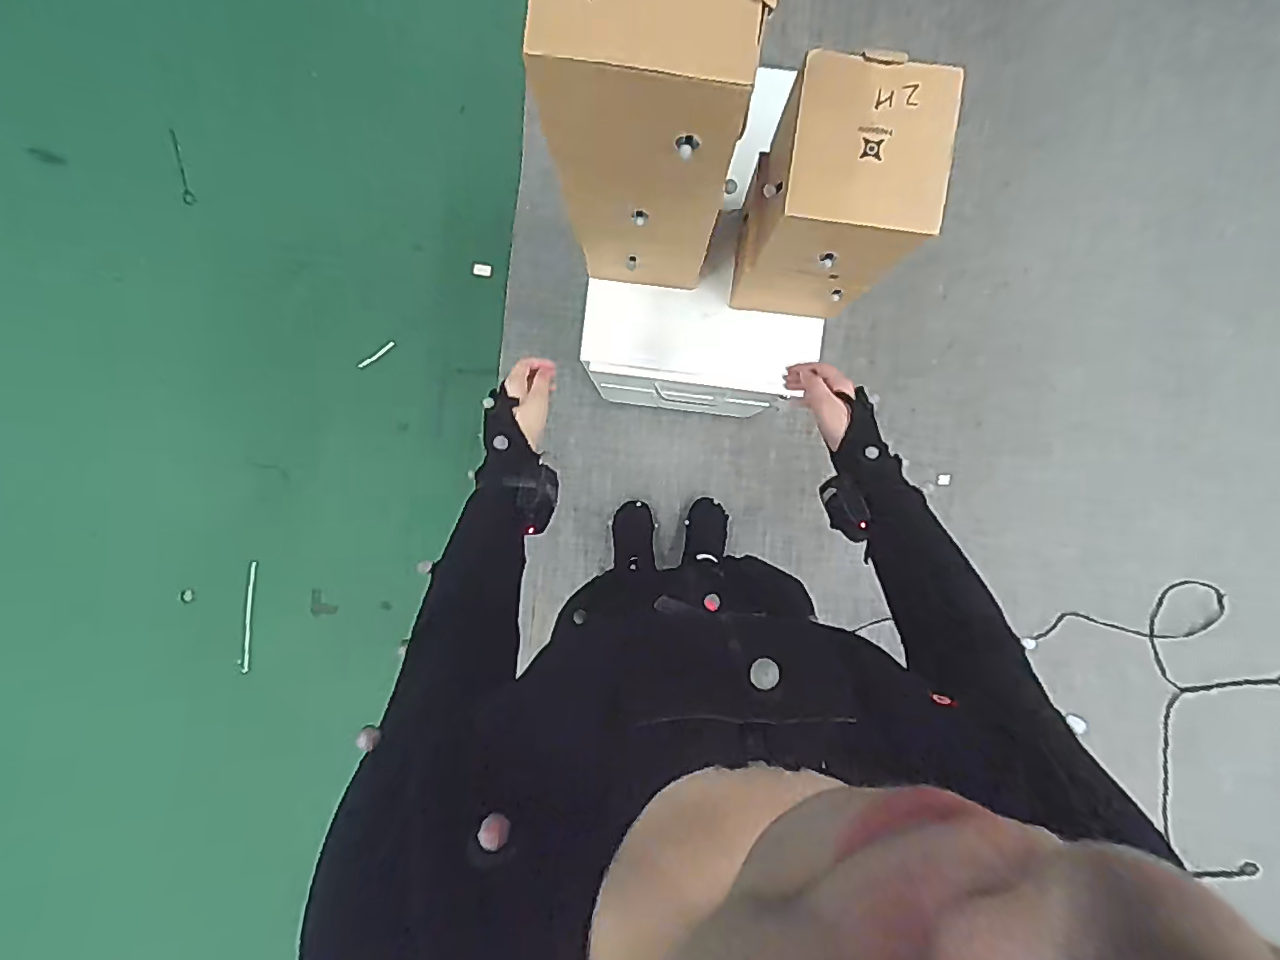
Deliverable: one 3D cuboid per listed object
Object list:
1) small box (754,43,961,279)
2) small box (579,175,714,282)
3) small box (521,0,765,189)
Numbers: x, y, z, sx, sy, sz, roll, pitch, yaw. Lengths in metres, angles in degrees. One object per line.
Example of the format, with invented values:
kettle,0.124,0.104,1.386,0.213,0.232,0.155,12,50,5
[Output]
small box,0.239,-0.356,0.639,0.168,0.176,0.179,8,92,0
small box,0.011,-0.408,0.803,0.179,0.176,0.168,6,93,-1
small box,0.008,-0.384,0.476,0.179,0.176,0.168,7,91,0
